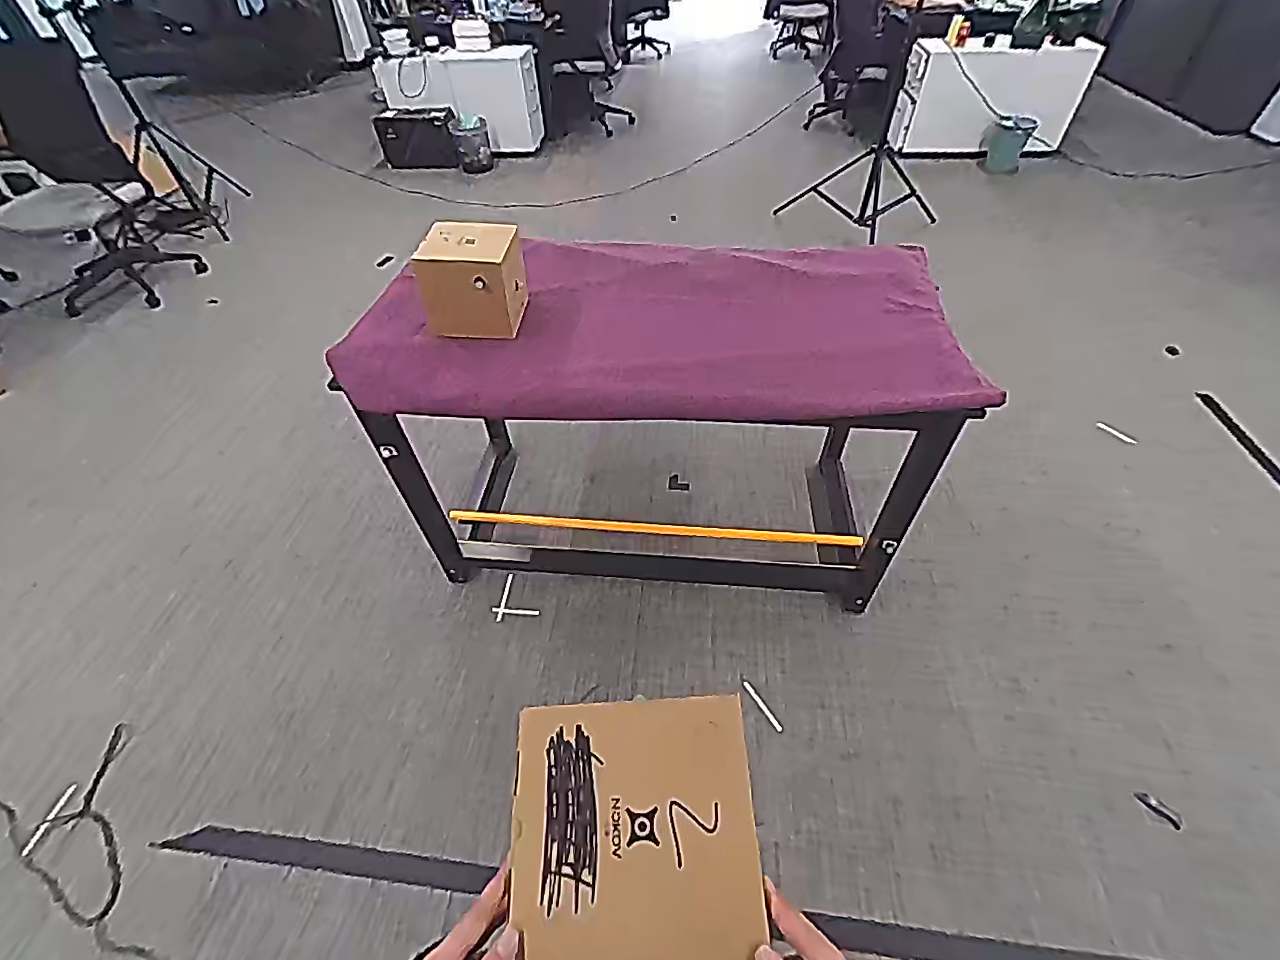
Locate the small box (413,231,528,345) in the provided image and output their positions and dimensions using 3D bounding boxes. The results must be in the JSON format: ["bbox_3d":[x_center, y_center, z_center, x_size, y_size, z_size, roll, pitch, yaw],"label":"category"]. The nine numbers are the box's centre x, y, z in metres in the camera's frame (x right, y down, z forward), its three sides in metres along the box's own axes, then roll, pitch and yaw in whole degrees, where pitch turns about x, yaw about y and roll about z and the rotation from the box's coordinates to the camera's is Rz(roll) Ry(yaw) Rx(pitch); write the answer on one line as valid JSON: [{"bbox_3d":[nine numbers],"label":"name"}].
[{"bbox_3d":[-0.339,-0.397,1.128,0.179,0.176,0.168,3,47,1],"label":"small box"}]
